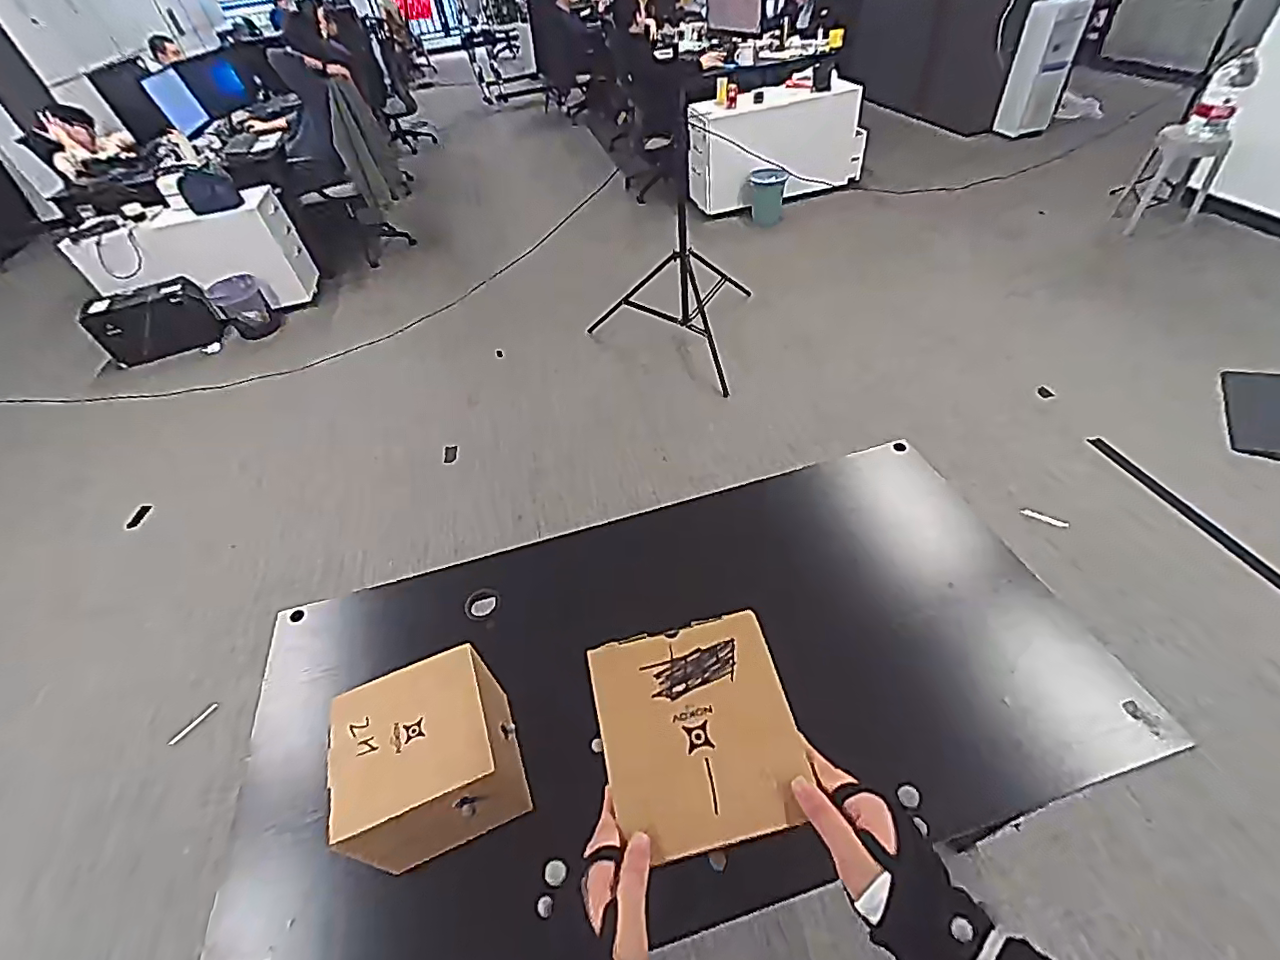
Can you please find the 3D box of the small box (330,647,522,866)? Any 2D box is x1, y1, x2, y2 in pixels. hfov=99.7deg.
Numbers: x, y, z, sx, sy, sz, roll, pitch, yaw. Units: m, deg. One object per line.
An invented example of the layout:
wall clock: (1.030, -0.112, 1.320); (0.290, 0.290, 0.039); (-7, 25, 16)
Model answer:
small box: (-0.259, 0.347, 0.678); (0.179, 0.176, 0.168); (-21, 47, -11)

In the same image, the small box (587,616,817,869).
small box: (0.049, 0.261, 0.536); (0.168, 0.176, 0.179); (-13, 56, -4)
